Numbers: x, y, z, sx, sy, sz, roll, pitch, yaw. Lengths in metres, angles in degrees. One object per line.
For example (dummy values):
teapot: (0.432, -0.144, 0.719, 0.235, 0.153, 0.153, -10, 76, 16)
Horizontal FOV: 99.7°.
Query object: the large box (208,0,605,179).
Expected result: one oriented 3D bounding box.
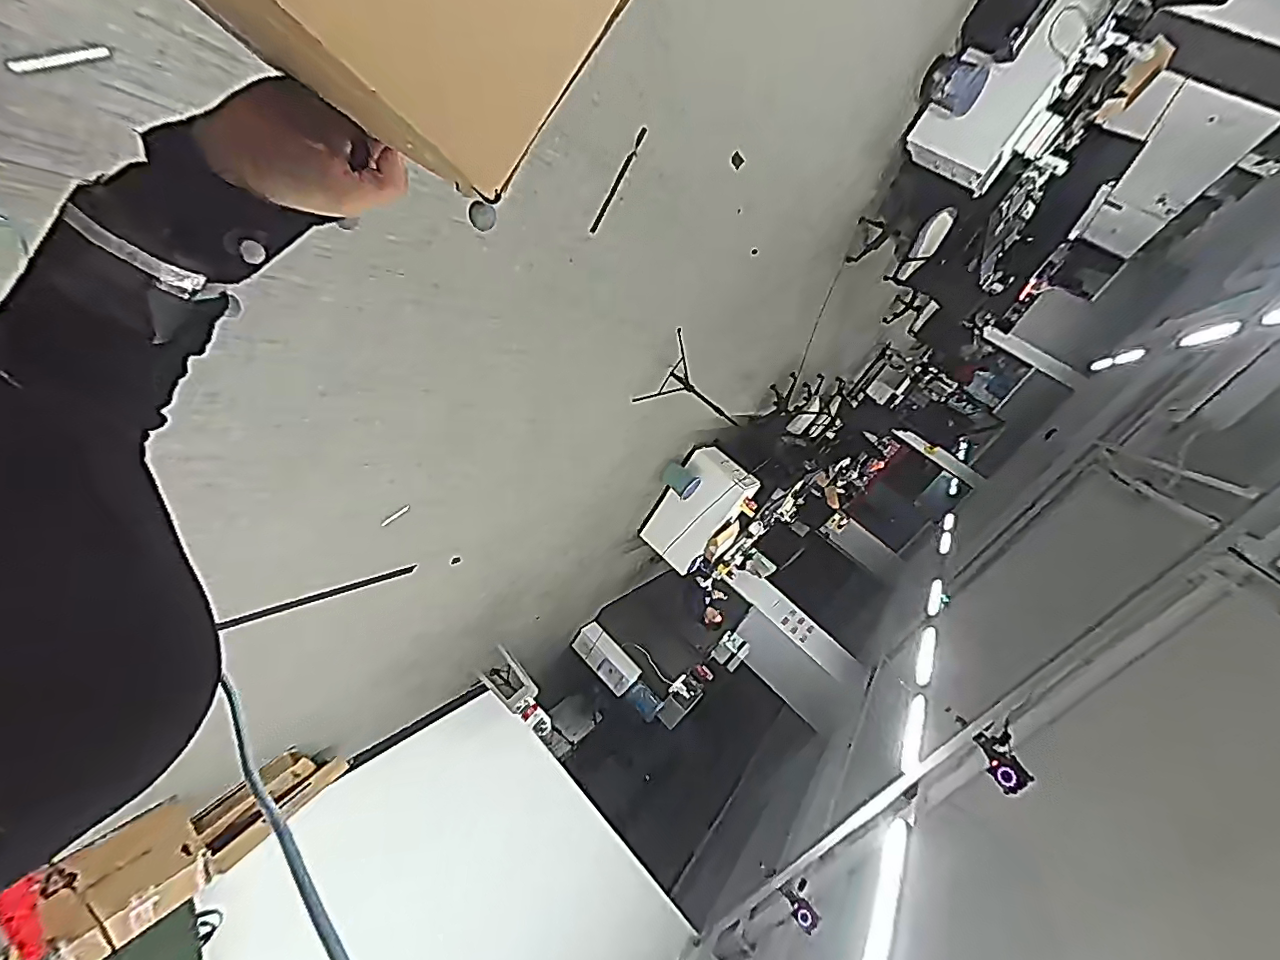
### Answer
large box: (-0.163, -0.365, 0.099, 0.320, 0.320, 0.408, -52, 152, 10)
